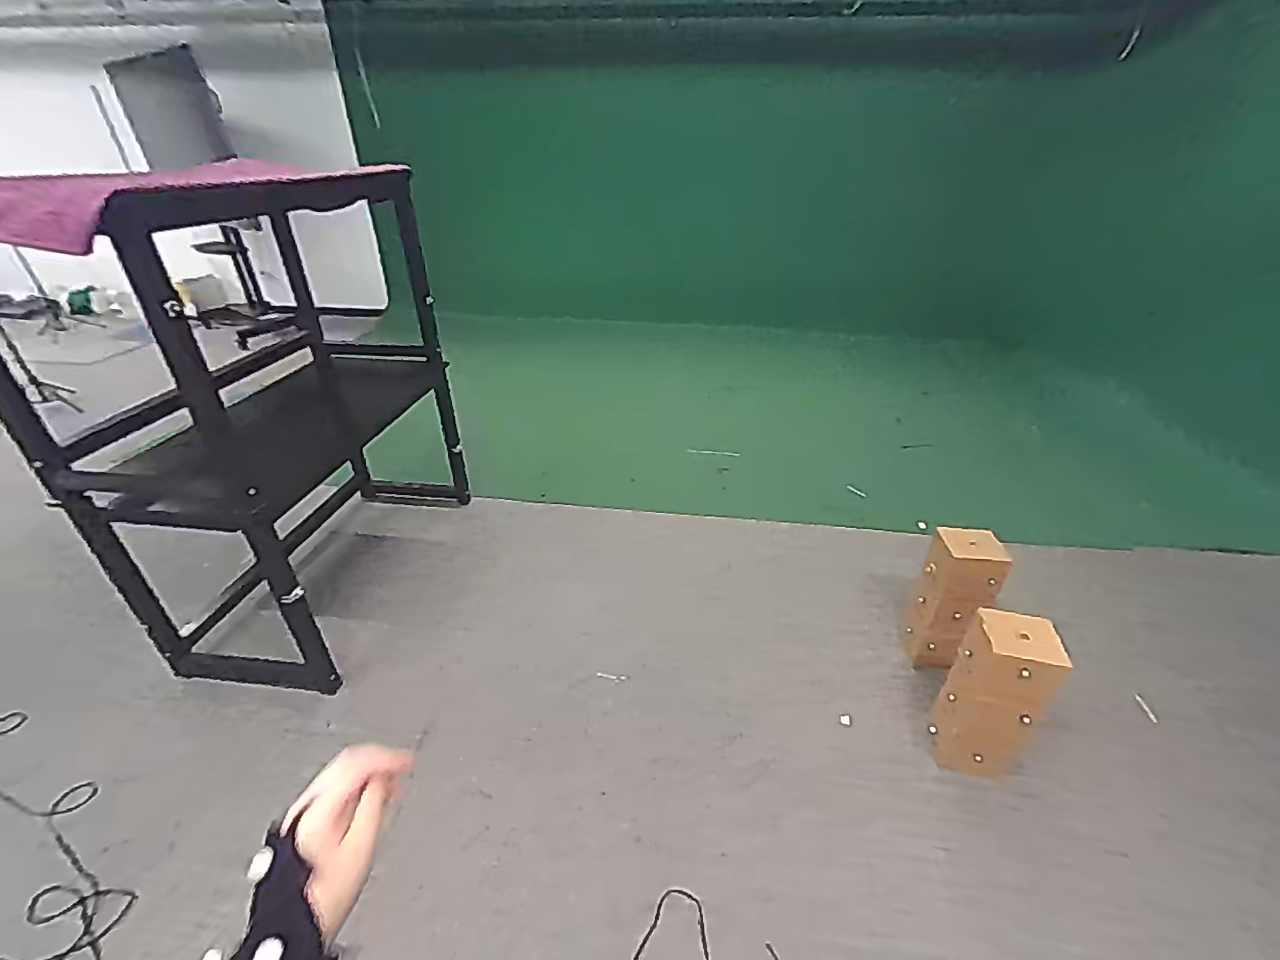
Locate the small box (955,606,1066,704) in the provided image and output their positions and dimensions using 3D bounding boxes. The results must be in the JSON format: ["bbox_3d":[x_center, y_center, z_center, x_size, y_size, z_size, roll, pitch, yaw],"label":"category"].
[{"bbox_3d":[0.976,0.468,1.441,0.179,0.176,0.168,8,33,12],"label":"small box"}]

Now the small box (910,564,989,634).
[{"bbox_3d":[1.044,0.407,1.846,0.179,0.176,0.168,3,32,4],"label":"small box"}]

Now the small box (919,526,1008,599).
[{"bbox_3d":[1.042,0.269,1.758,0.179,0.176,0.168,3,30,5],"label":"small box"}]

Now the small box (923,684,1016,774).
[{"bbox_3d":[0.974,0.746,1.613,0.179,0.176,0.168,7,33,12],"label":"small box"}]
